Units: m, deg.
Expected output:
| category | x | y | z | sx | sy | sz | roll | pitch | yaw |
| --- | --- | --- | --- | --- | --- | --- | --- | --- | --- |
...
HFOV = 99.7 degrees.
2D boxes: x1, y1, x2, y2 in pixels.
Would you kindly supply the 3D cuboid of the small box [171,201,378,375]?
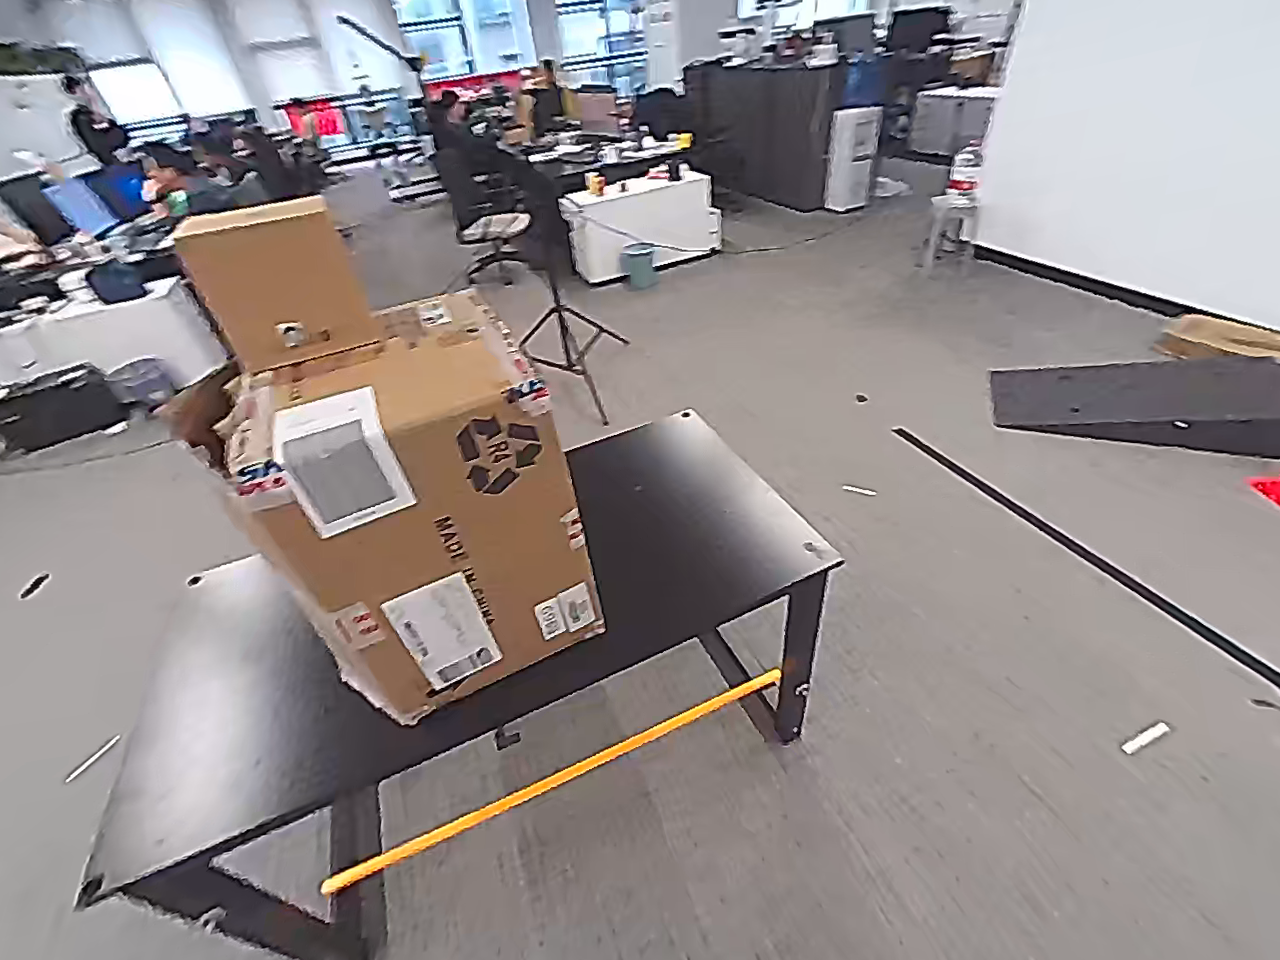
| category | x | y | z | sx | sy | sz | roll | pitch | yaw |
| --- | --- | --- | --- | --- | --- | --- | --- | --- | --- |
| small box | -0.478 | -0.262 | 0.729 | 0.168 | 0.176 | 0.179 | -24 | 41 | -20 |
